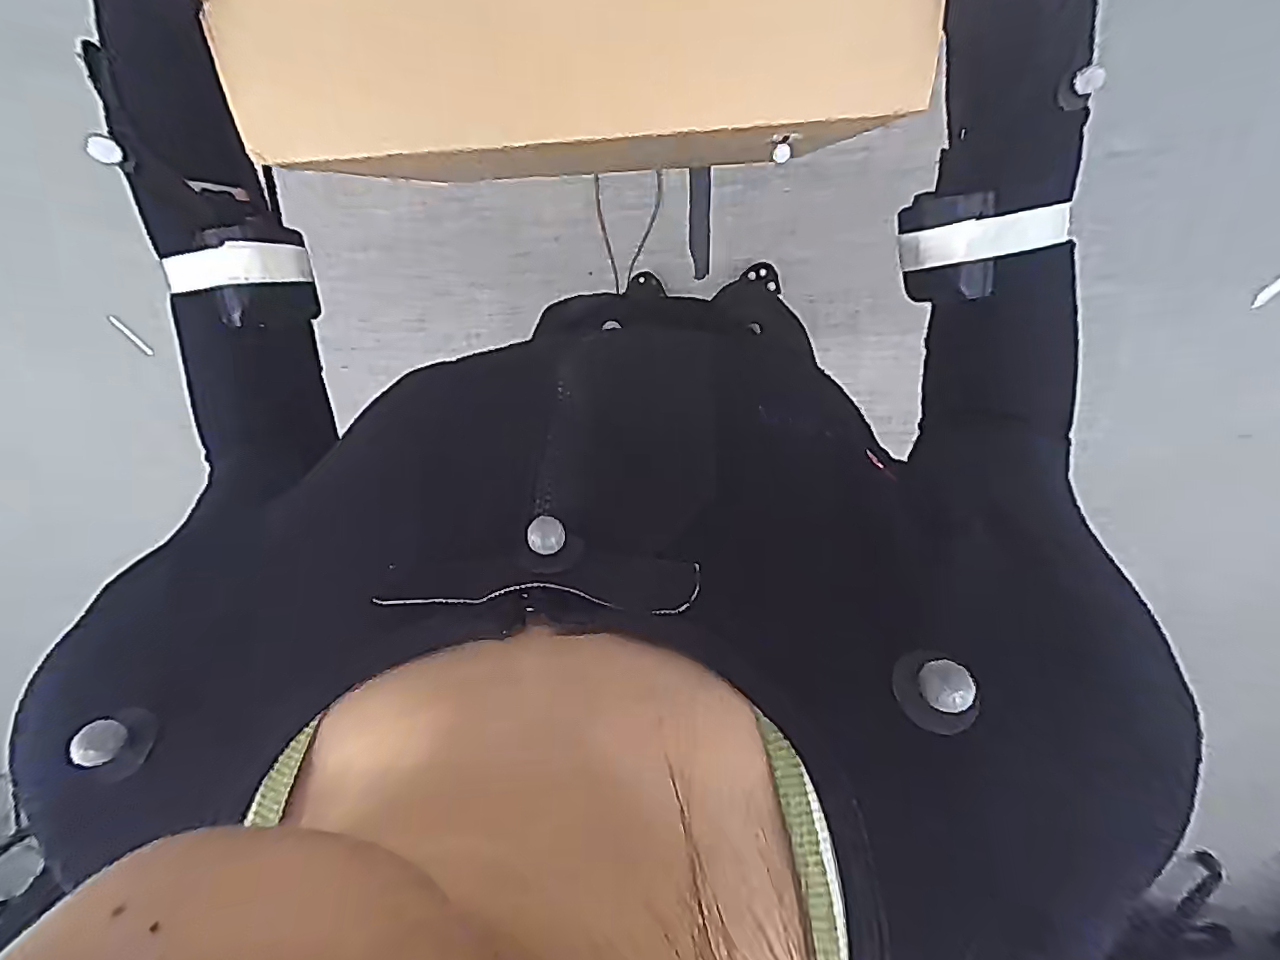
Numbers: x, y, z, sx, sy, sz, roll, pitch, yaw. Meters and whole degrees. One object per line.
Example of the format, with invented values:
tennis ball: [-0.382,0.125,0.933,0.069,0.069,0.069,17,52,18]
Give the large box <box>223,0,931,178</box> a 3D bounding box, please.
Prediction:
large box: [-0.037,-0.415,0.395,0.408,0.320,0.320,-2,116,4]
